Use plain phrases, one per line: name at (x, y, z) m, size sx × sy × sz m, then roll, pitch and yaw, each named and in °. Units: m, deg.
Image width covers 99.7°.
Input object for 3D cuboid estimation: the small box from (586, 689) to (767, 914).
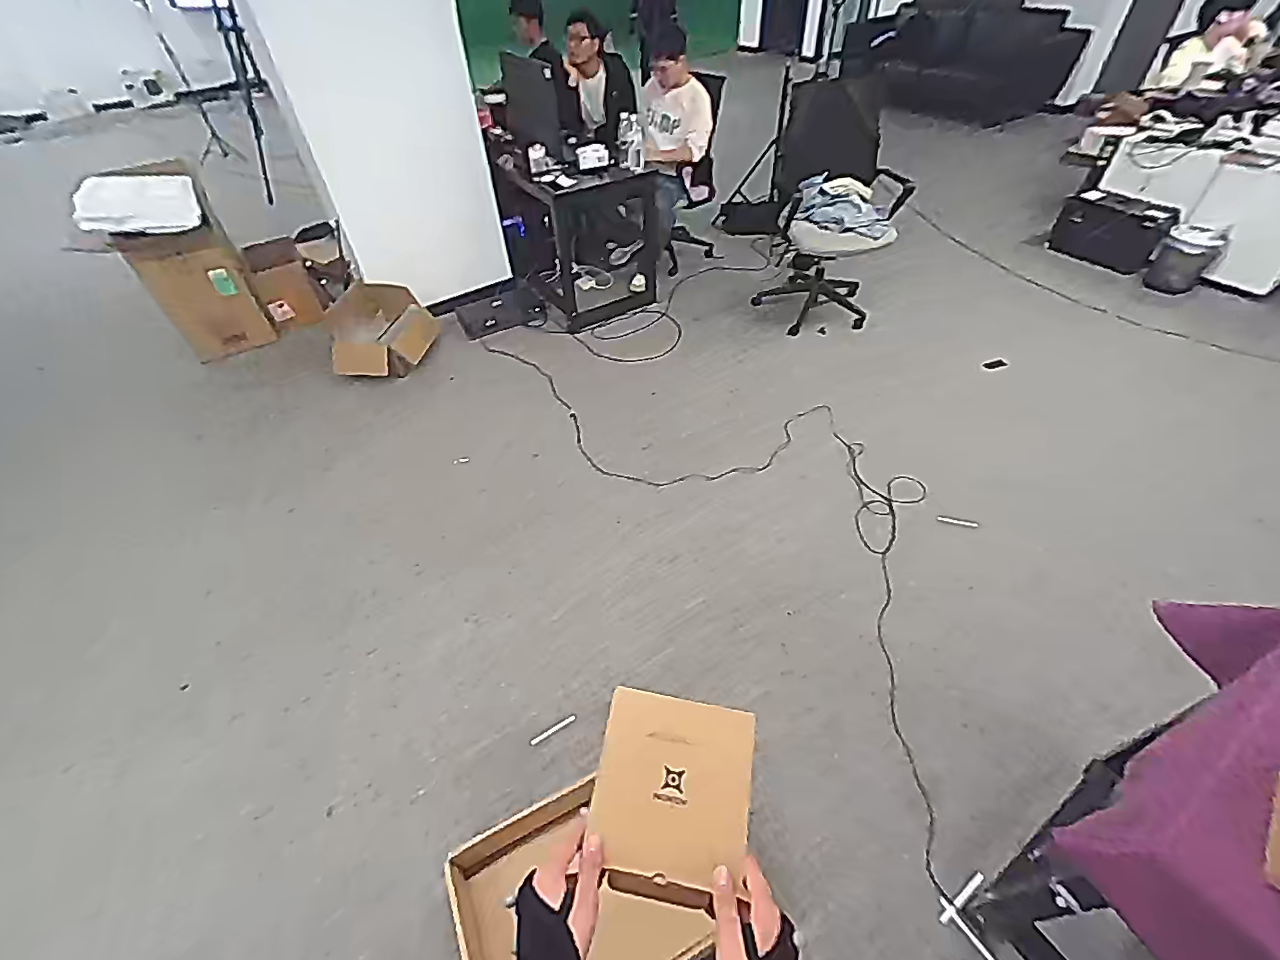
small box at (0.043, 0.367, 0.629) m, size 0.168 × 0.176 × 0.179 m, roll 11°, pitch 57°, yaw 6°
